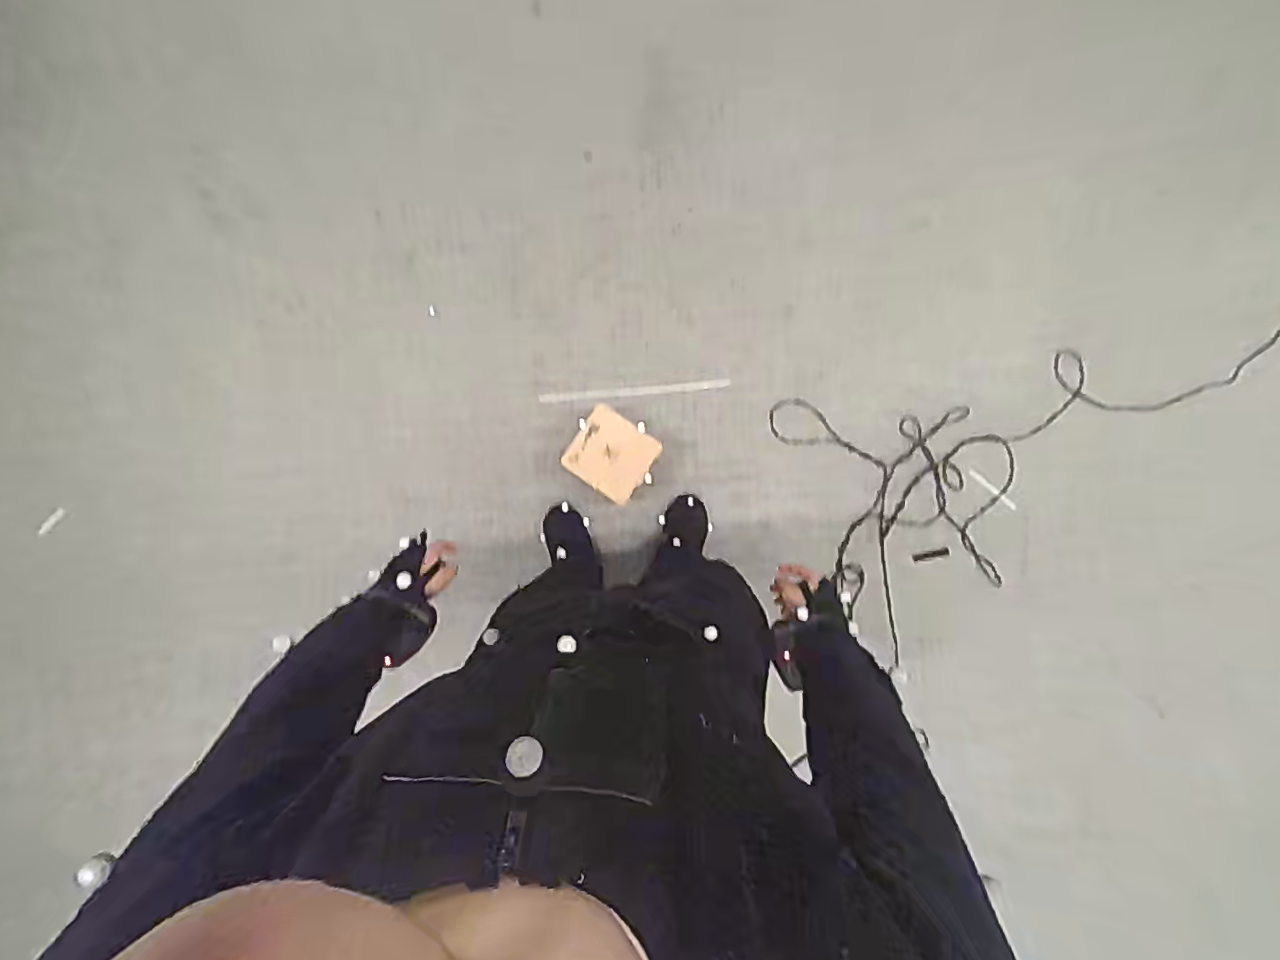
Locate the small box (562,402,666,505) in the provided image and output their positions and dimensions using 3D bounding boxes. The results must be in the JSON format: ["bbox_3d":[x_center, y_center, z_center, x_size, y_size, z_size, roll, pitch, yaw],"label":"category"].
[{"bbox_3d":[-0.054,-0.063,1.268,0.179,0.176,0.168,35,93,1],"label":"small box"}]
